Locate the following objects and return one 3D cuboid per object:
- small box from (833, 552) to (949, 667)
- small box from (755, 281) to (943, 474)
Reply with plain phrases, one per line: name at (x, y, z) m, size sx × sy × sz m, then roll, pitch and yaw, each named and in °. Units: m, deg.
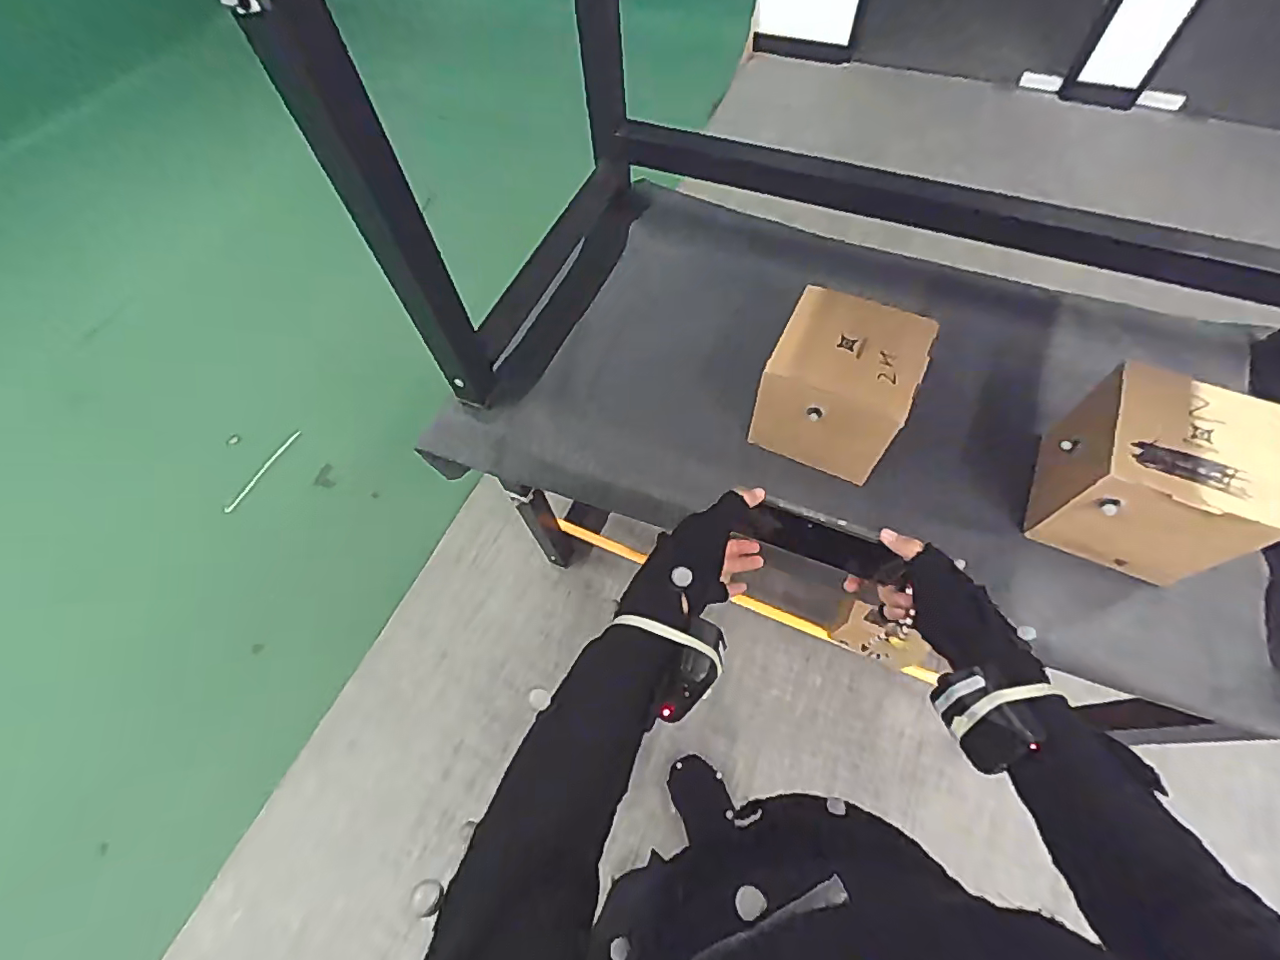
small box at (0.547, 0.293, 1.199) m, size 0.168 × 0.176 × 0.179 m, roll 24°, pitch 67°, yaw 15°
small box at (0.270, -0.132, 0.735) m, size 0.179 × 0.176 × 0.168 m, roll 23°, pitch 66°, yaw 15°
